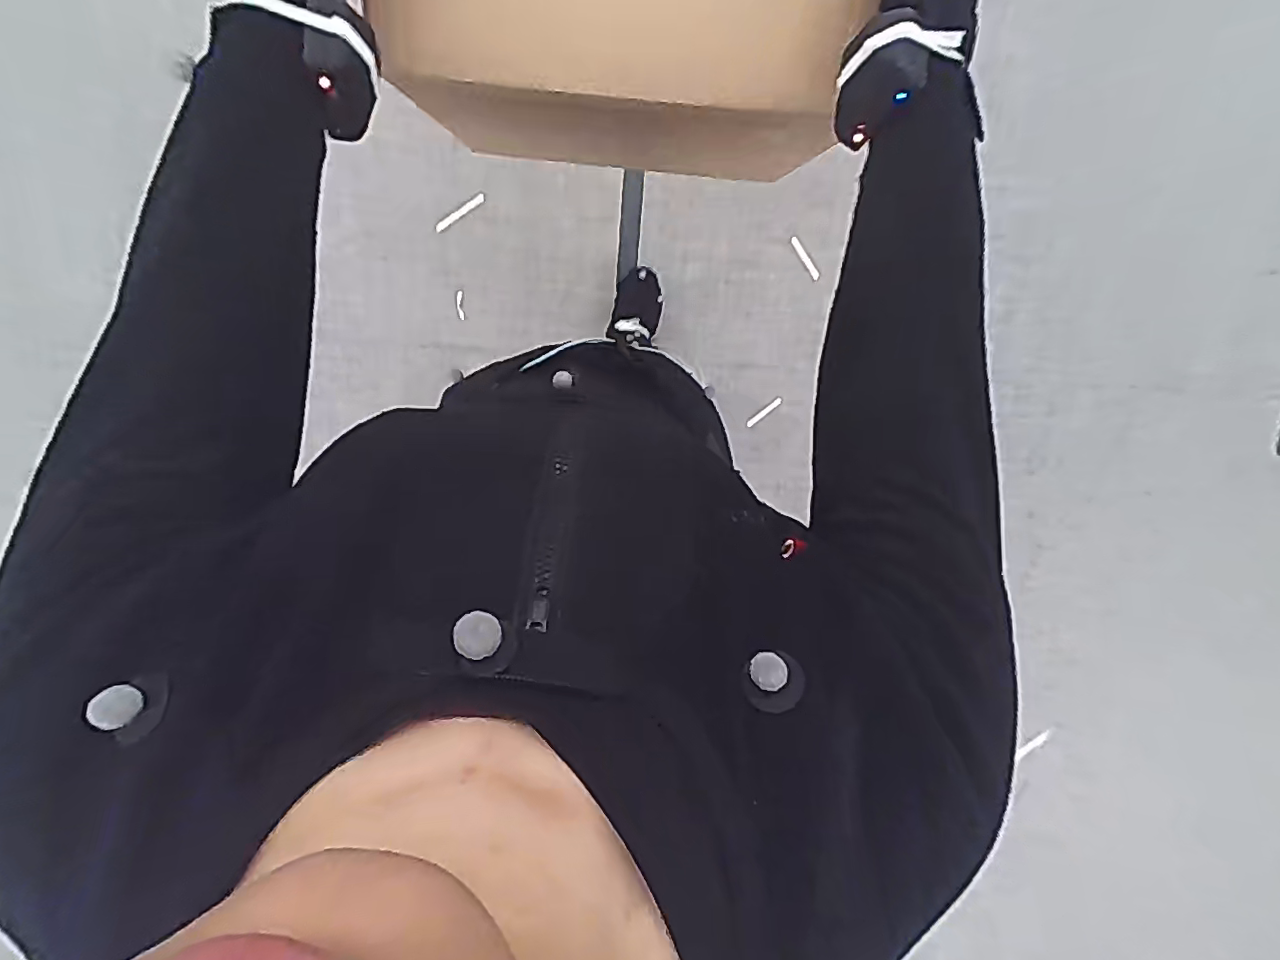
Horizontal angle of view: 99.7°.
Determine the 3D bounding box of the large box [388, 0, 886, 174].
[{"bbox_3d":[-0.002,-0.515,0.536,0.408,0.320,0.320,3,111,-4],"label":"large box"}]
